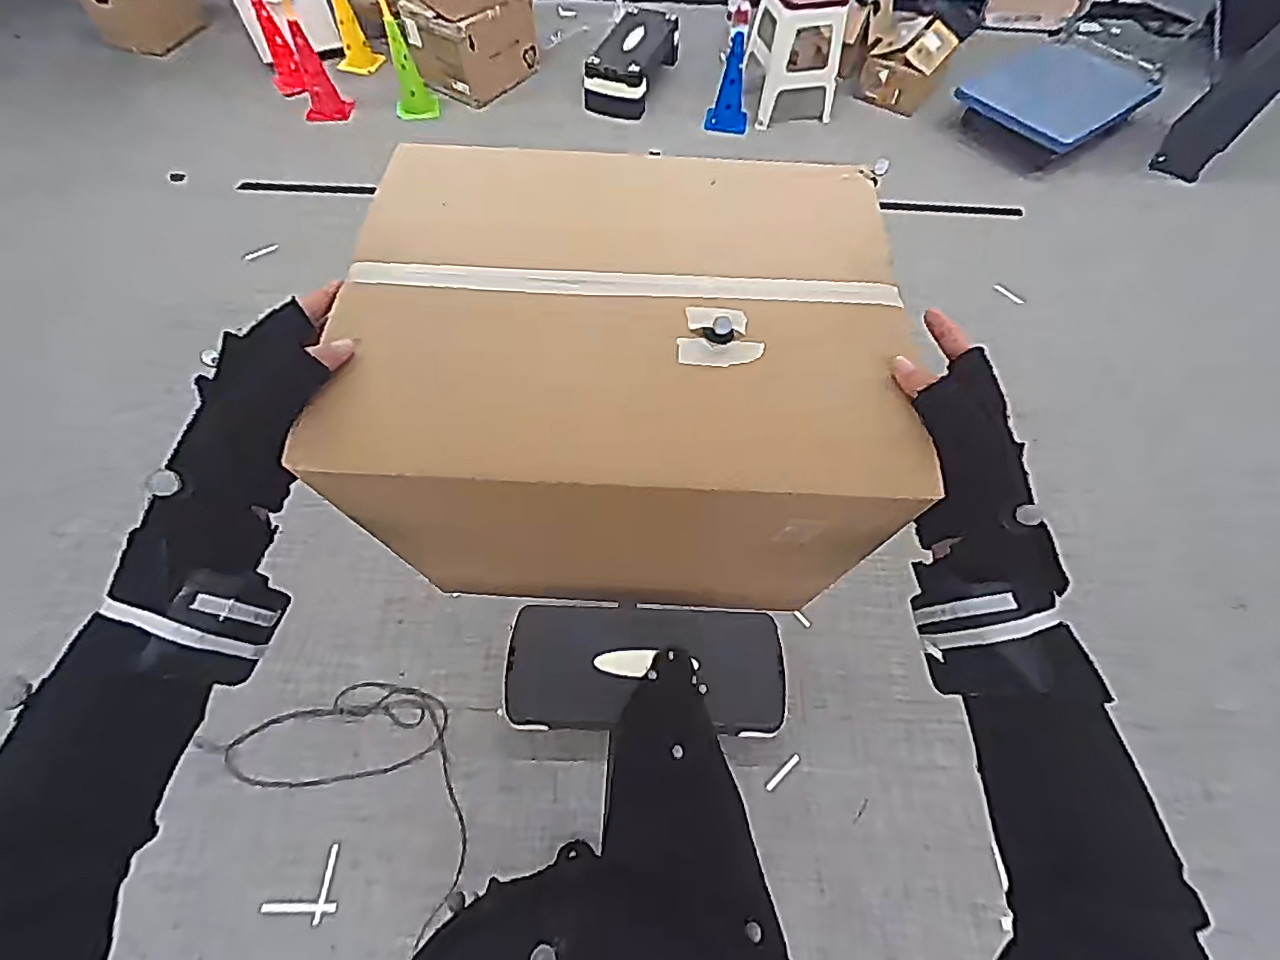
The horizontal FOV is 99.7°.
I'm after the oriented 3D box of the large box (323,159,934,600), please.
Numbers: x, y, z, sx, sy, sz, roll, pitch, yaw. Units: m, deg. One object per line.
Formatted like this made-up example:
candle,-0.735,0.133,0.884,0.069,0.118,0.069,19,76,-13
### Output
large box,-0.007,-0.072,0.544,0.408,0.320,0.320,3,65,-1
